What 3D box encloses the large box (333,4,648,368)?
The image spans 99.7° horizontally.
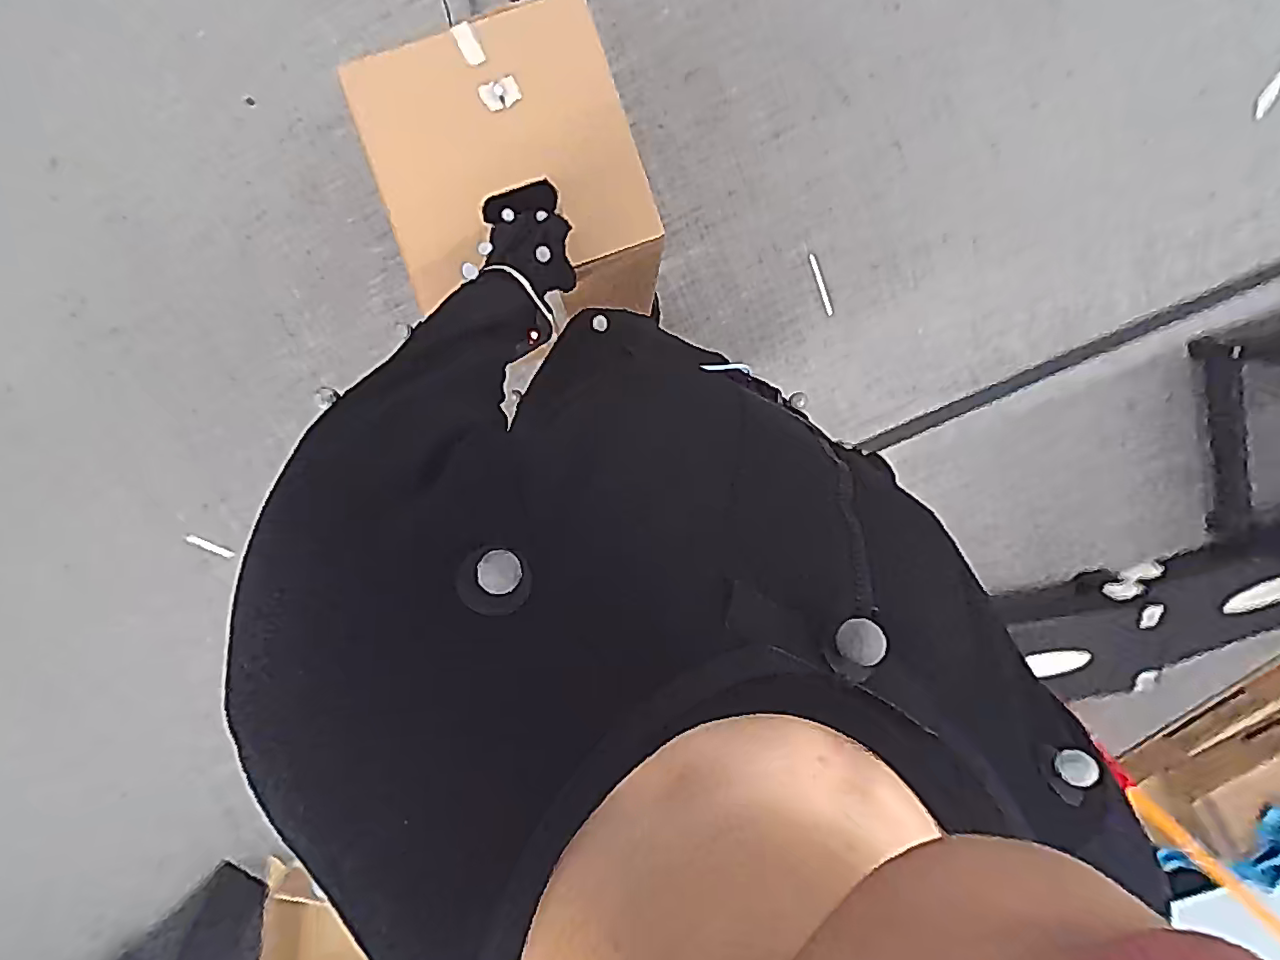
[{"bbox_3d":[-0.188,-0.403,0.859,0.320,0.408,0.320,-20,93,0],"label":"large box"}]
